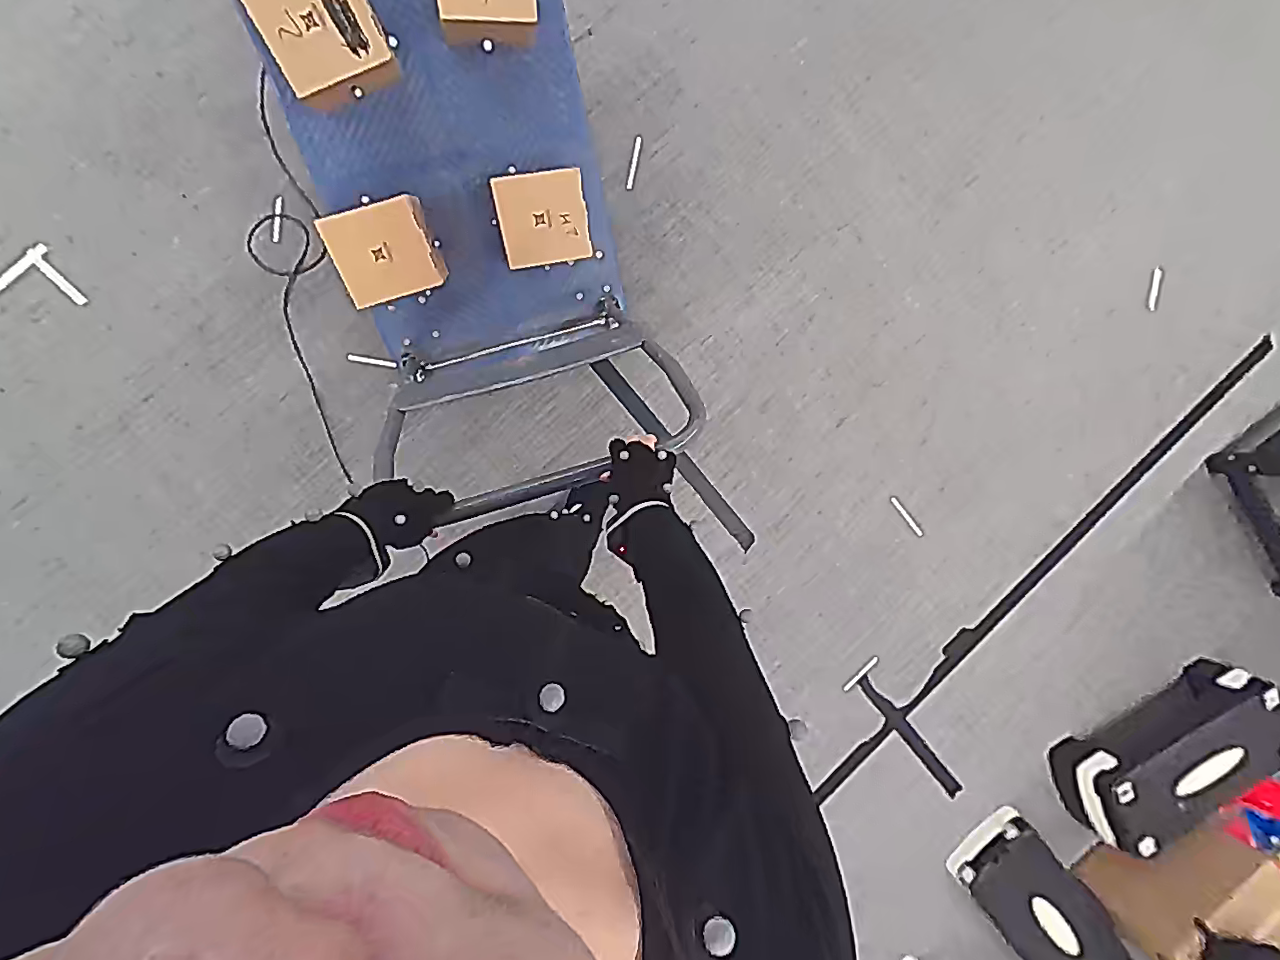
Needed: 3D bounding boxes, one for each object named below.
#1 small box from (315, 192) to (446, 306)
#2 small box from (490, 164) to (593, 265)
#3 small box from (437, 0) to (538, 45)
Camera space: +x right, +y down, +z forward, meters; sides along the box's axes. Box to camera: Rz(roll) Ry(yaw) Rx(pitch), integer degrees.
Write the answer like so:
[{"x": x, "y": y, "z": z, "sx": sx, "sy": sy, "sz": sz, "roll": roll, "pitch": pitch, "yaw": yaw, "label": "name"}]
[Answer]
[{"x": -0.510, "y": -0.467, "z": 1.094, "sx": 0.179, "sy": 0.176, "sz": 0.168, "roll": -21, "pitch": 119, "yaw": -6, "label": "small box"}, {"x": -0.207, "y": -0.553, "z": 1.133, "sx": 0.179, "sy": 0.176, "sz": 0.168, "roll": -13, "pitch": 119, "yaw": -9, "label": "small box"}, {"x": -0.276, "y": -0.895, "z": 0.944, "sx": 0.168, "sy": 0.176, "sz": 0.179, "roll": -8, "pitch": 118, "yaw": -12, "label": "small box"}]
